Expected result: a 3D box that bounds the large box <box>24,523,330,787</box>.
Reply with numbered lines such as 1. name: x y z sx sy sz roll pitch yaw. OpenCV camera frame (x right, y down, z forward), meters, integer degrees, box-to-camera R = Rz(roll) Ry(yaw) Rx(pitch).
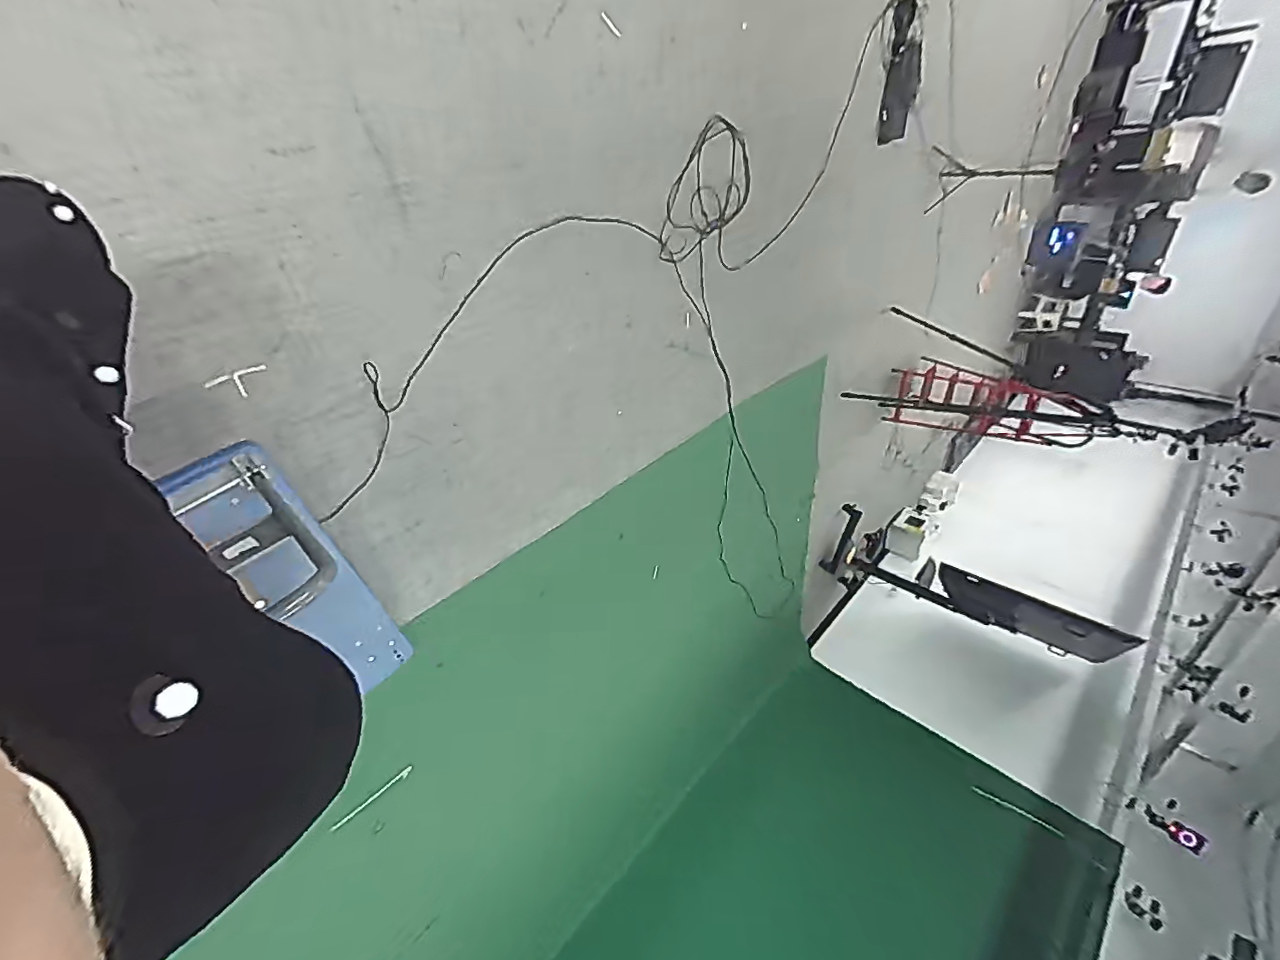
1. large box: -0.987 0.371 1.184 0.320 0.320 0.408 -40 135 -29
